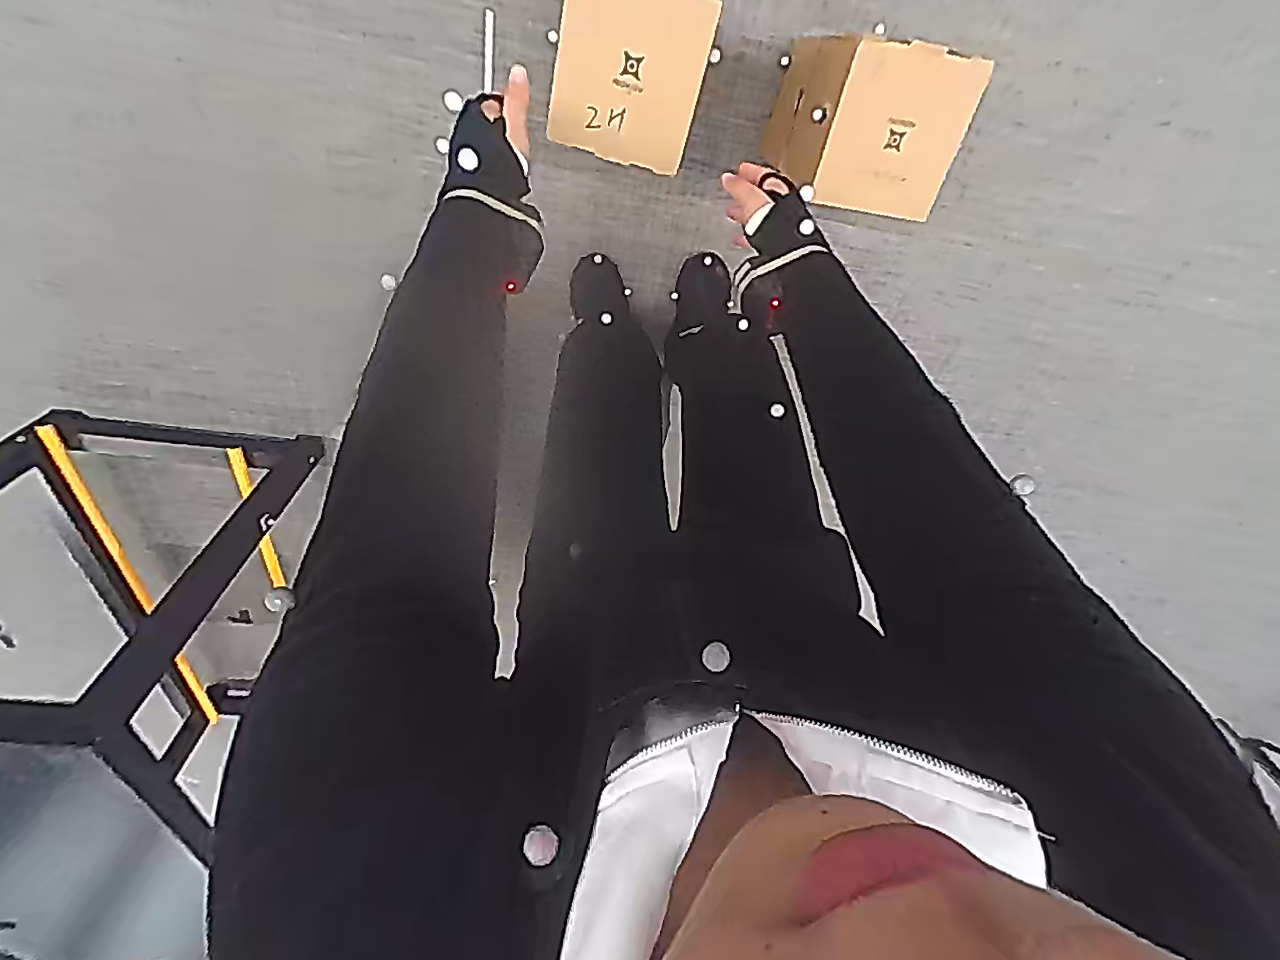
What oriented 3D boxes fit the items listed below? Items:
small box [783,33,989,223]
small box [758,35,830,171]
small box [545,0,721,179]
[{"bbox_3d":[0.305,-0.469,0.720,0.168,0.176,0.179,6,129,-6],"label":"small box"},{"bbox_3d":[0.305,-0.569,0.849,0.179,0.176,0.168,9,128,-11],"label":"small box"},{"bbox_3d":[-0.016,-0.505,0.670,0.168,0.176,0.179,11,127,-10],"label":"small box"}]
